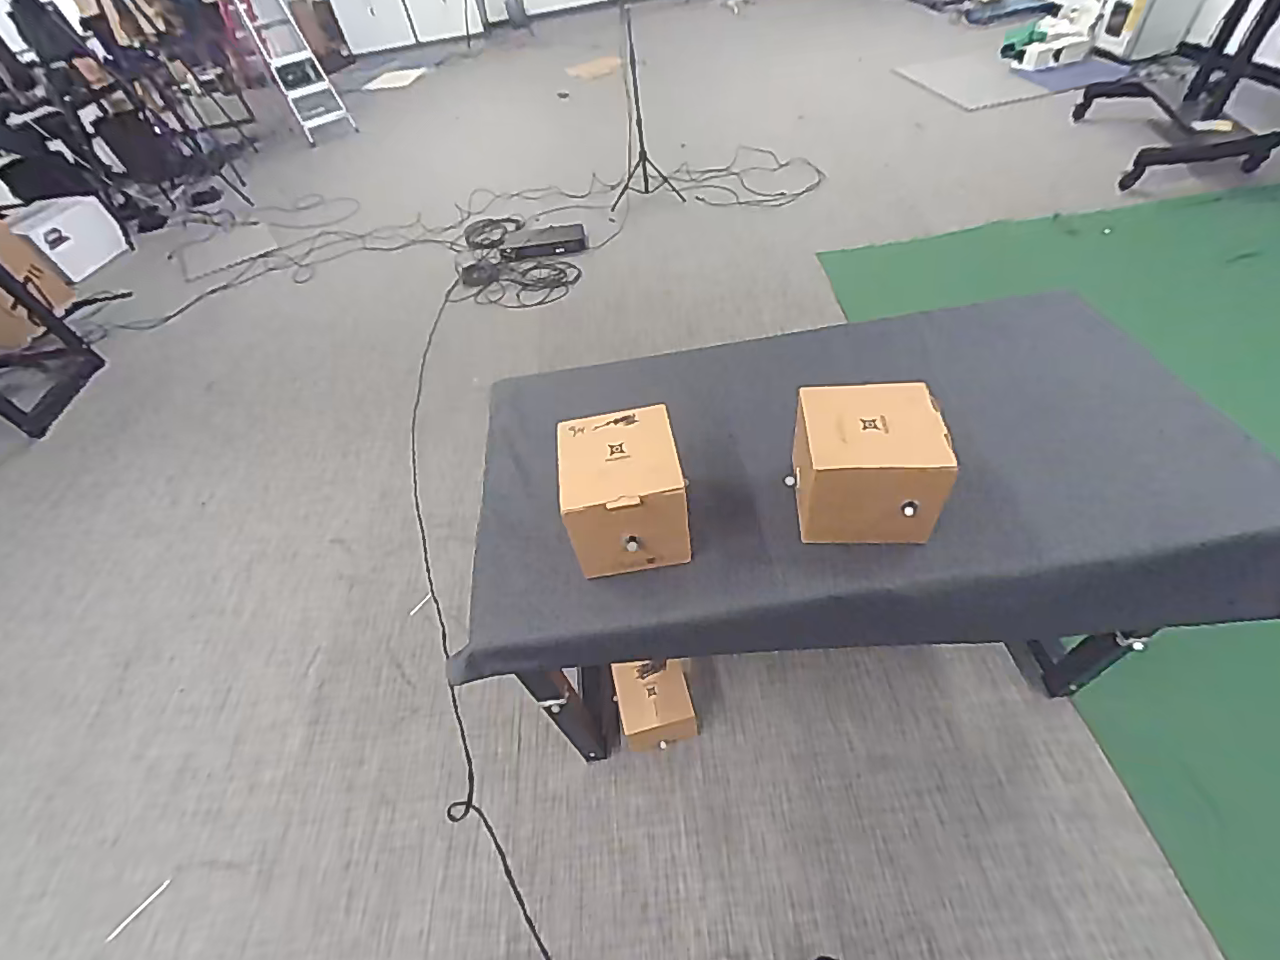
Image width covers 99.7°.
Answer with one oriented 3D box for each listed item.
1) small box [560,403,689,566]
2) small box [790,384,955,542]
[{"bbox_3d":[-0.021,0.014,0.812,0.168,0.176,0.179,-9,48,0],"label":"small box"},{"bbox_3d":[0.324,-0.021,0.794,0.179,0.176,0.168,-2,48,9],"label":"small box"}]
